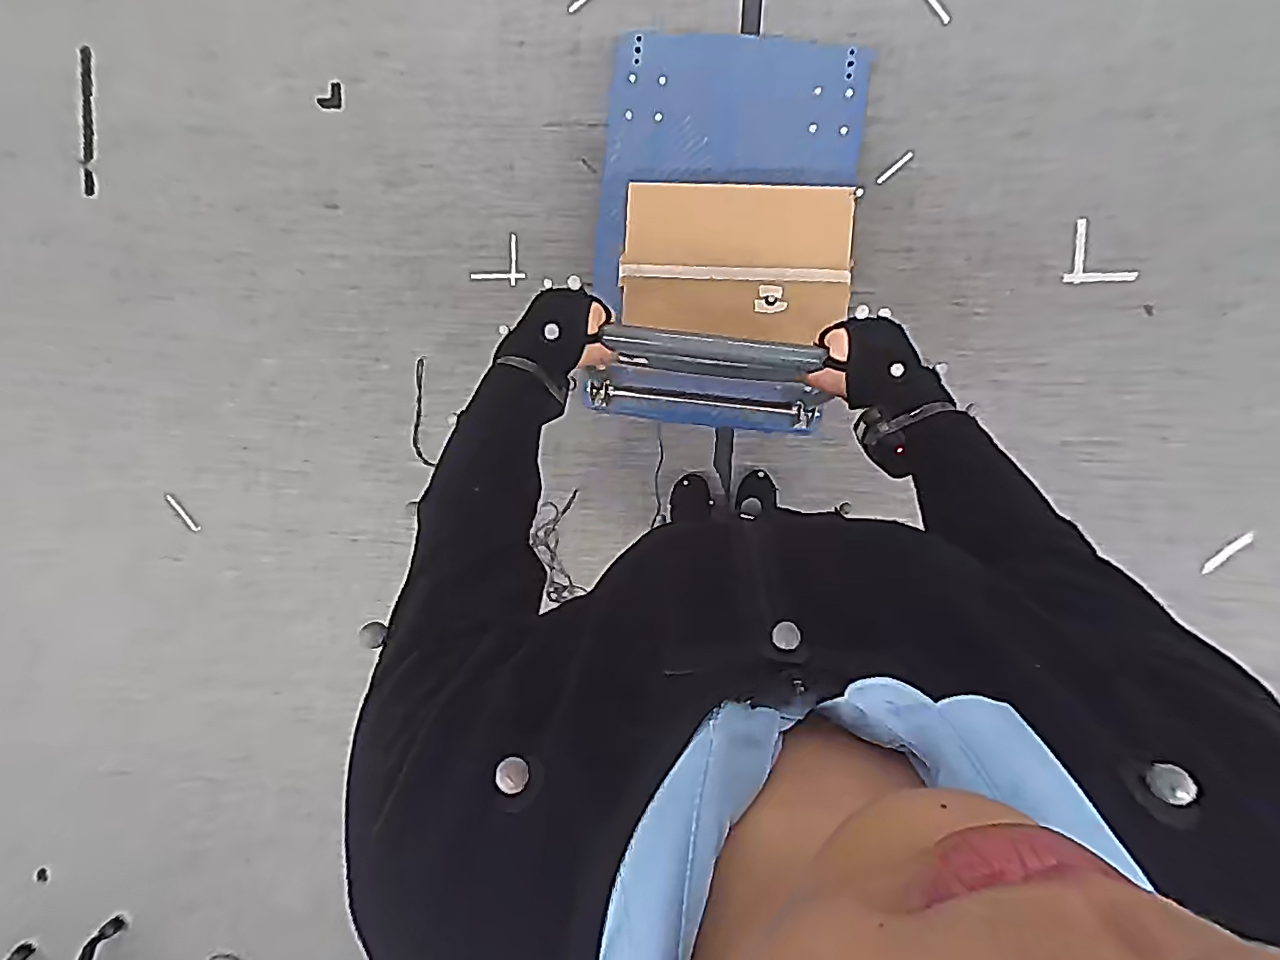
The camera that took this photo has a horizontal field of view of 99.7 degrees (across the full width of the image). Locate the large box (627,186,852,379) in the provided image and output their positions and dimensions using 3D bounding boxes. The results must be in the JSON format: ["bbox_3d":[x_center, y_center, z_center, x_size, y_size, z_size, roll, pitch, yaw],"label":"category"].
[{"bbox_3d":[0.184,-0.389,1.138,0.408,0.320,0.320,3,95,3],"label":"large box"}]
